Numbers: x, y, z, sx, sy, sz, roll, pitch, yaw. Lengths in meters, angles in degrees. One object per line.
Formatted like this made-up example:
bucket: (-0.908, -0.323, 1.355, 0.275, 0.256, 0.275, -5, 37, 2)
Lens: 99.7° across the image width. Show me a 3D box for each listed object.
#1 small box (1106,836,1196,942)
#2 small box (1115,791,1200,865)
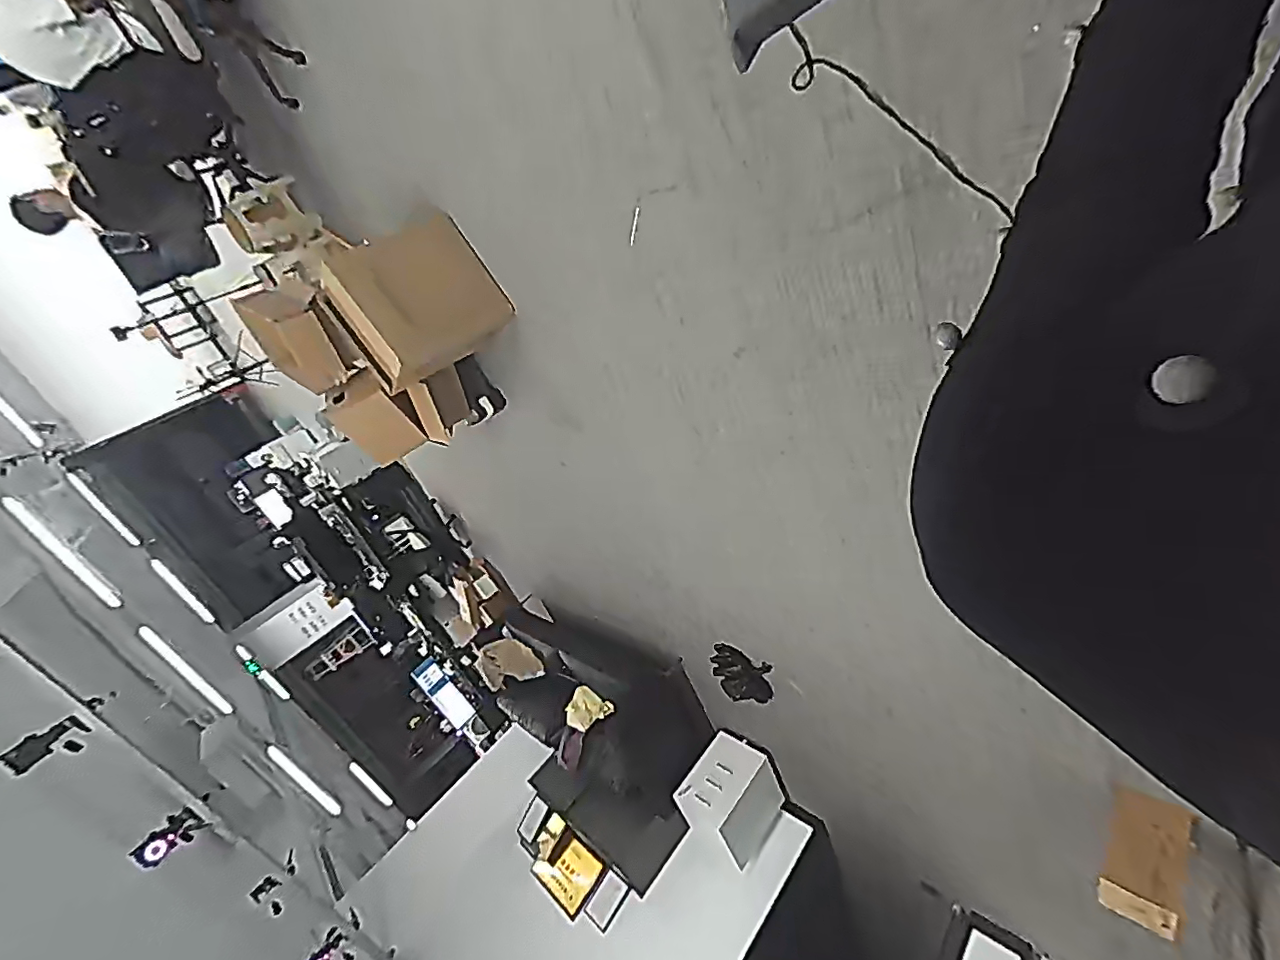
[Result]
small box: (1.562, 1.238, 1.654, 0.179, 0.176, 0.168, 9, 131, 47)
small box: (1.665, 1.145, 1.741, 0.179, 0.176, 0.168, 5, 127, 50)
